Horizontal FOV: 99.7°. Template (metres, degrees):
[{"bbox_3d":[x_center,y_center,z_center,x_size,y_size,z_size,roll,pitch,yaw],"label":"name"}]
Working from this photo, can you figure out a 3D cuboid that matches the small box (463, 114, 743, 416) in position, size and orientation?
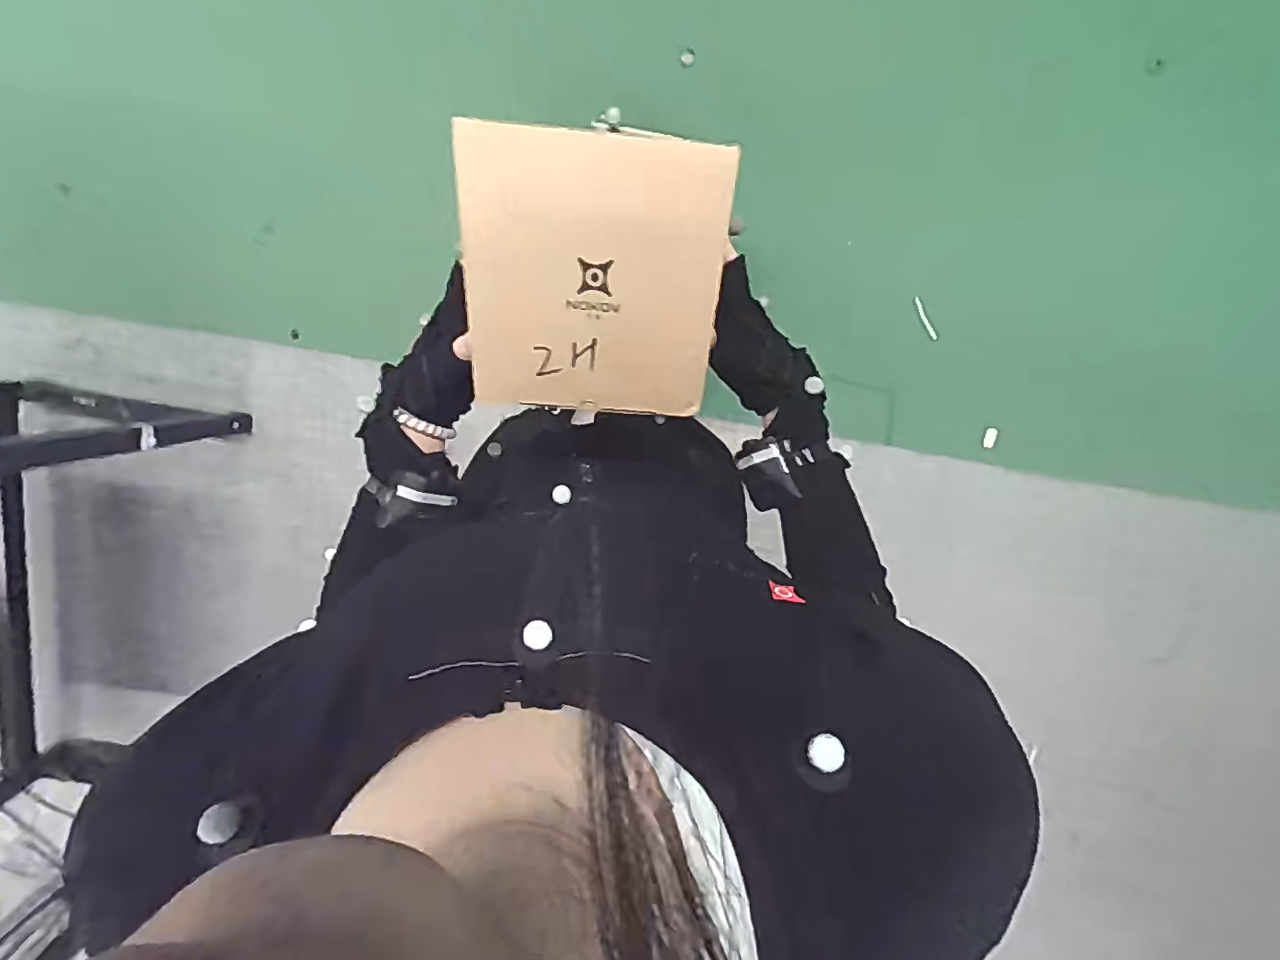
[{"bbox_3d":[-0.029,-0.167,0.420,0.168,0.176,0.179,4,122,-3],"label":"small box"}]
